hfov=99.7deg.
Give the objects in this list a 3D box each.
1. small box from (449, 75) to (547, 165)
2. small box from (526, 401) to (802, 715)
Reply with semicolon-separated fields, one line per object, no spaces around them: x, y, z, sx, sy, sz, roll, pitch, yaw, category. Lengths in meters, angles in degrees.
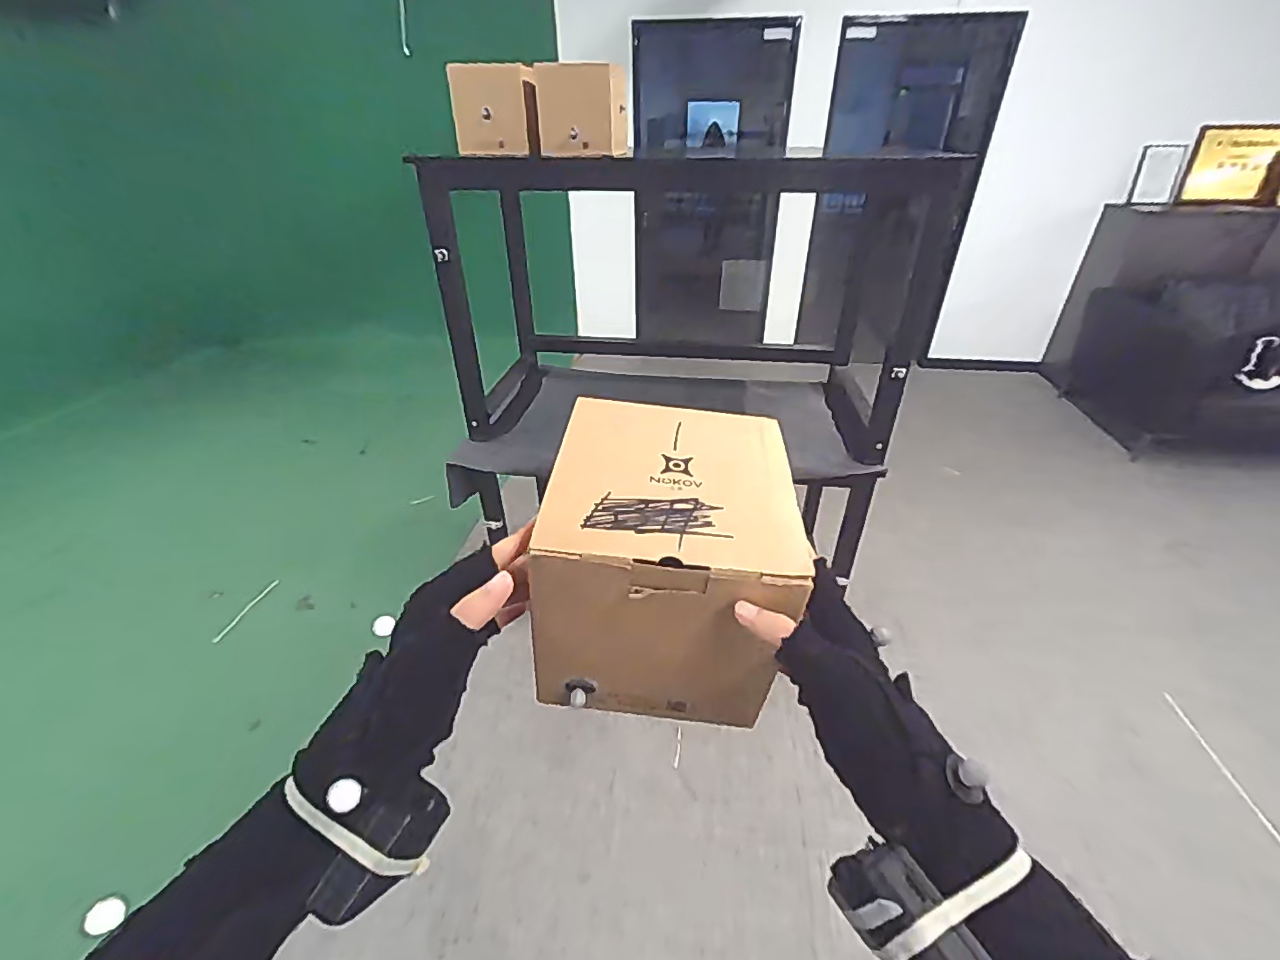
-0.320;-0.837;1.266;0.168;0.176;0.179;5;33;6;small box
0.015;0.059;0.427;0.168;0.176;0.179;6;37;0;small box
